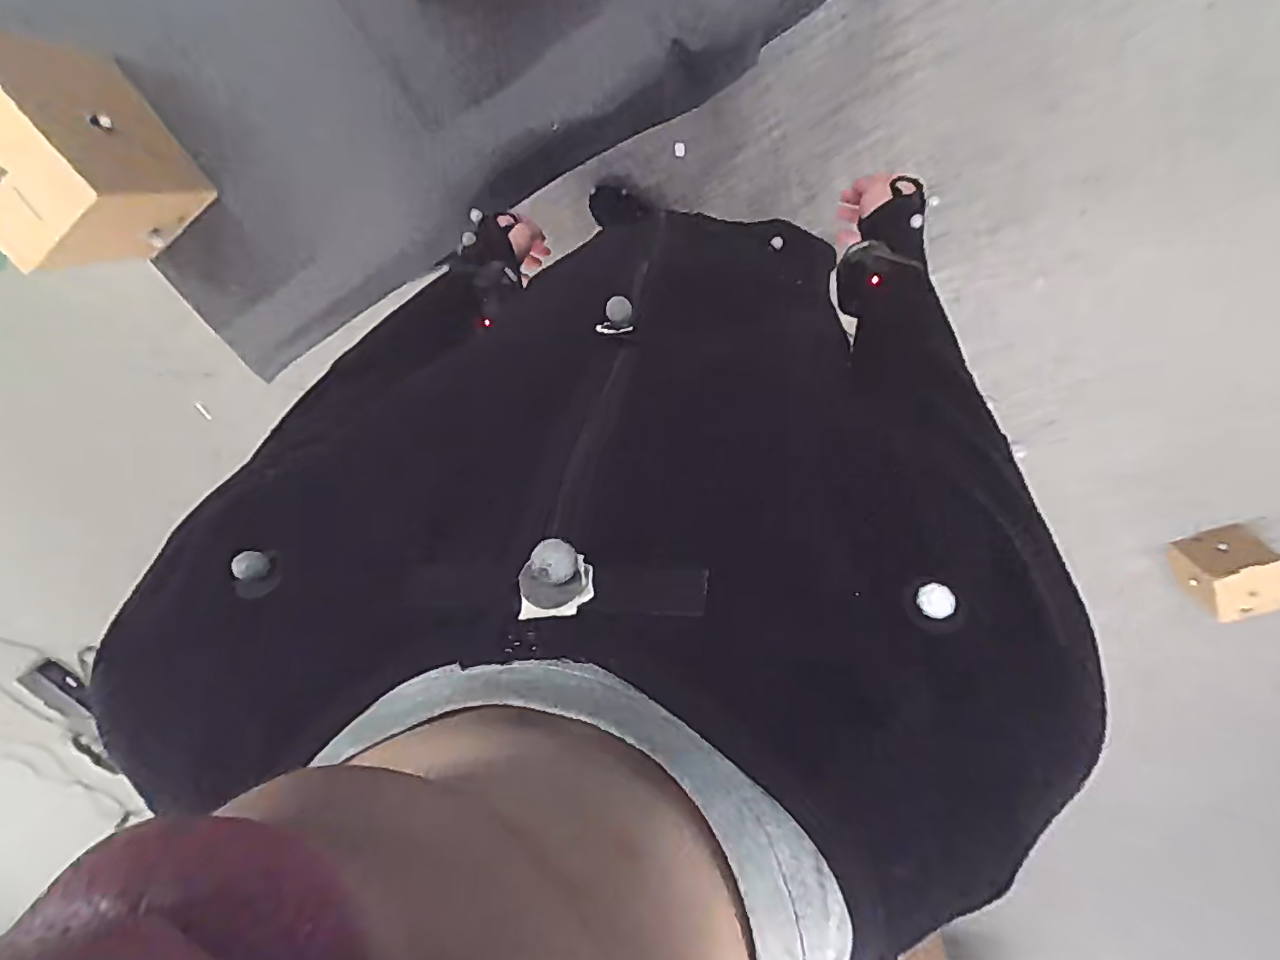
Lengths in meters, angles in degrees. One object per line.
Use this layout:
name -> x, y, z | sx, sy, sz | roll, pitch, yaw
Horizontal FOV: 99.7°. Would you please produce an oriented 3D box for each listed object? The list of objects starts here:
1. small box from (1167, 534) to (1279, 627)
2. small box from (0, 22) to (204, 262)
small box -> 1.651, 0.276, 1.532 | 0.168, 0.176, 0.179 | -25, 113, 20
small box -> -0.674, -0.379, 0.620 | 0.168, 0.176, 0.179 | -25, 113, 19
